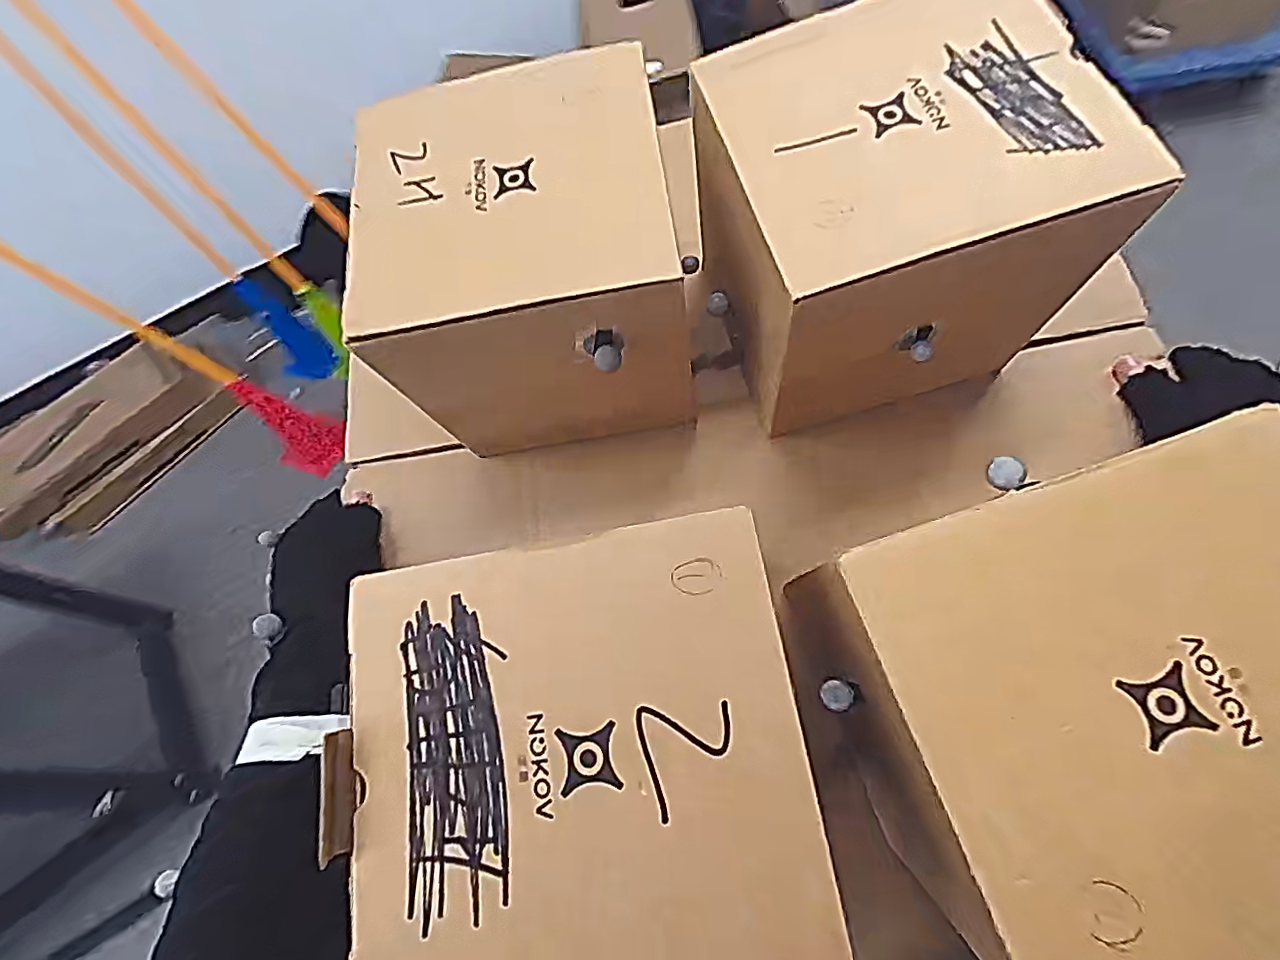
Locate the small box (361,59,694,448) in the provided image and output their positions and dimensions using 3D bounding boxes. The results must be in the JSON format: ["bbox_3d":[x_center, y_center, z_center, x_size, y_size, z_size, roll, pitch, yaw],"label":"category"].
[{"bbox_3d":[-0.057,-0.134,0.375,0.179,0.176,0.168,-8,70,7],"label":"small box"}]
